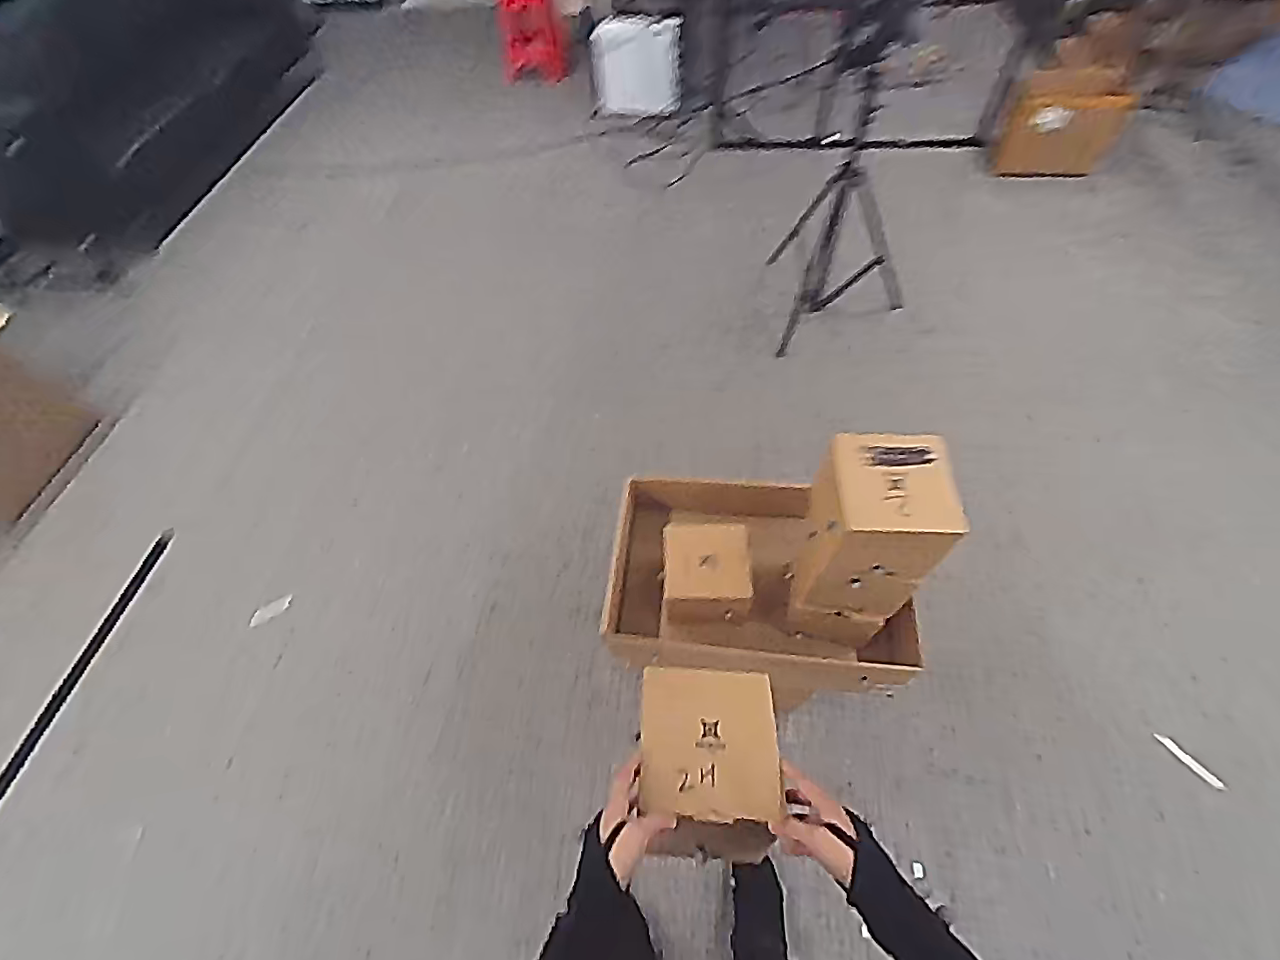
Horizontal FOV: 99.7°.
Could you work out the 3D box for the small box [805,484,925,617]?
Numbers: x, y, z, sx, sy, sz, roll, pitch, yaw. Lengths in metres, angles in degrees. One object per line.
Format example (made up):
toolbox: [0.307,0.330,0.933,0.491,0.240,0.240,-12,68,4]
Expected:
small box: [0.406,0.133,1.005,0.168,0.176,0.179,7,57,9]

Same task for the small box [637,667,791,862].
small box: [0.083,0.369,0.703,0.168,0.176,0.179,3,43,0]
